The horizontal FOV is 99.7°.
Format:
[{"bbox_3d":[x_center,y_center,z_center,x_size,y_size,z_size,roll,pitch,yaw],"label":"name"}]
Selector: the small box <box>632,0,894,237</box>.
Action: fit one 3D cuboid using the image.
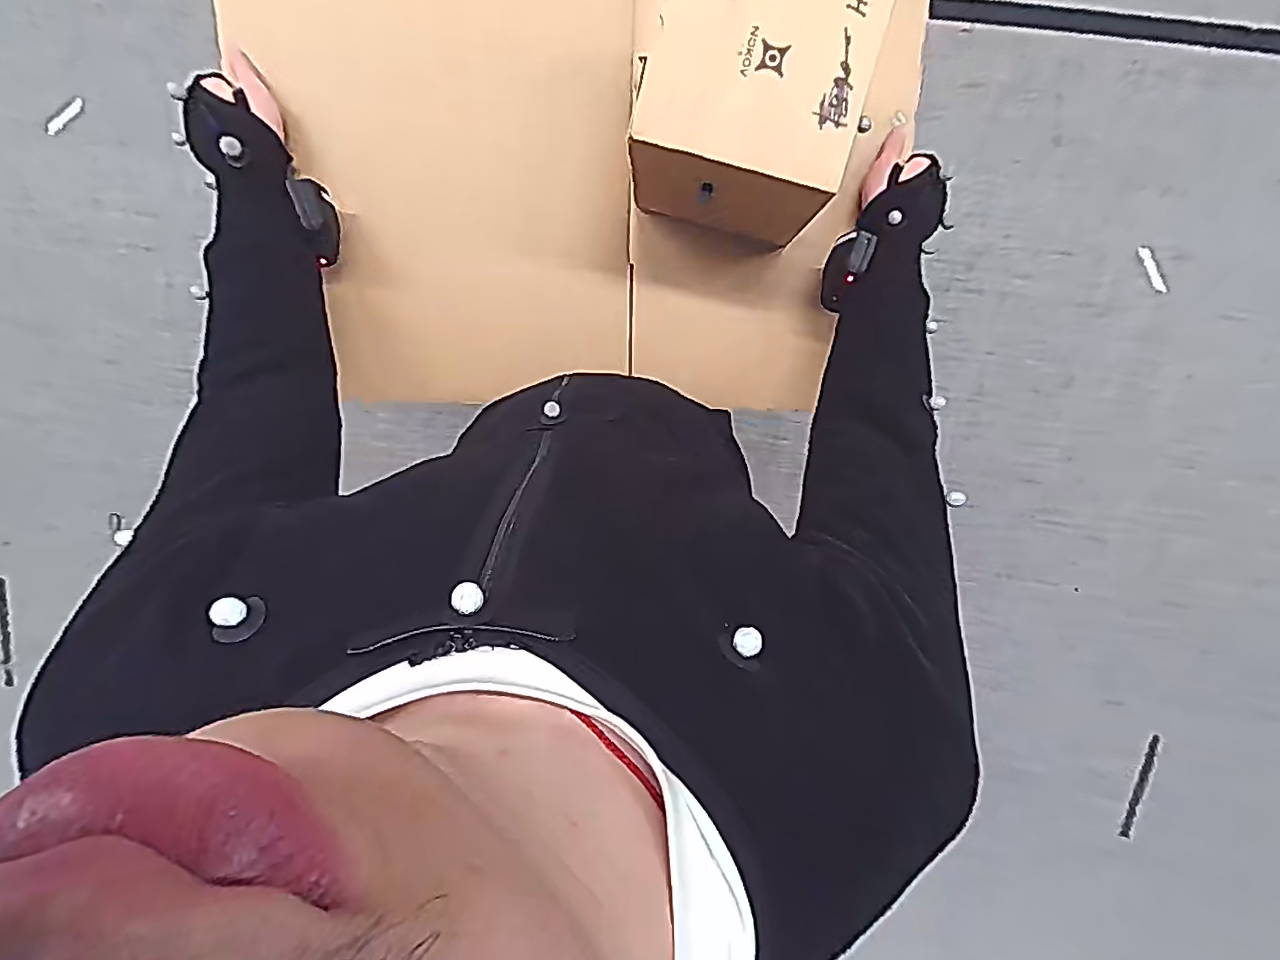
[{"bbox_3d":[0.100,-0.346,0.502,0.179,0.176,0.168,15,100,0],"label":"small box"}]
